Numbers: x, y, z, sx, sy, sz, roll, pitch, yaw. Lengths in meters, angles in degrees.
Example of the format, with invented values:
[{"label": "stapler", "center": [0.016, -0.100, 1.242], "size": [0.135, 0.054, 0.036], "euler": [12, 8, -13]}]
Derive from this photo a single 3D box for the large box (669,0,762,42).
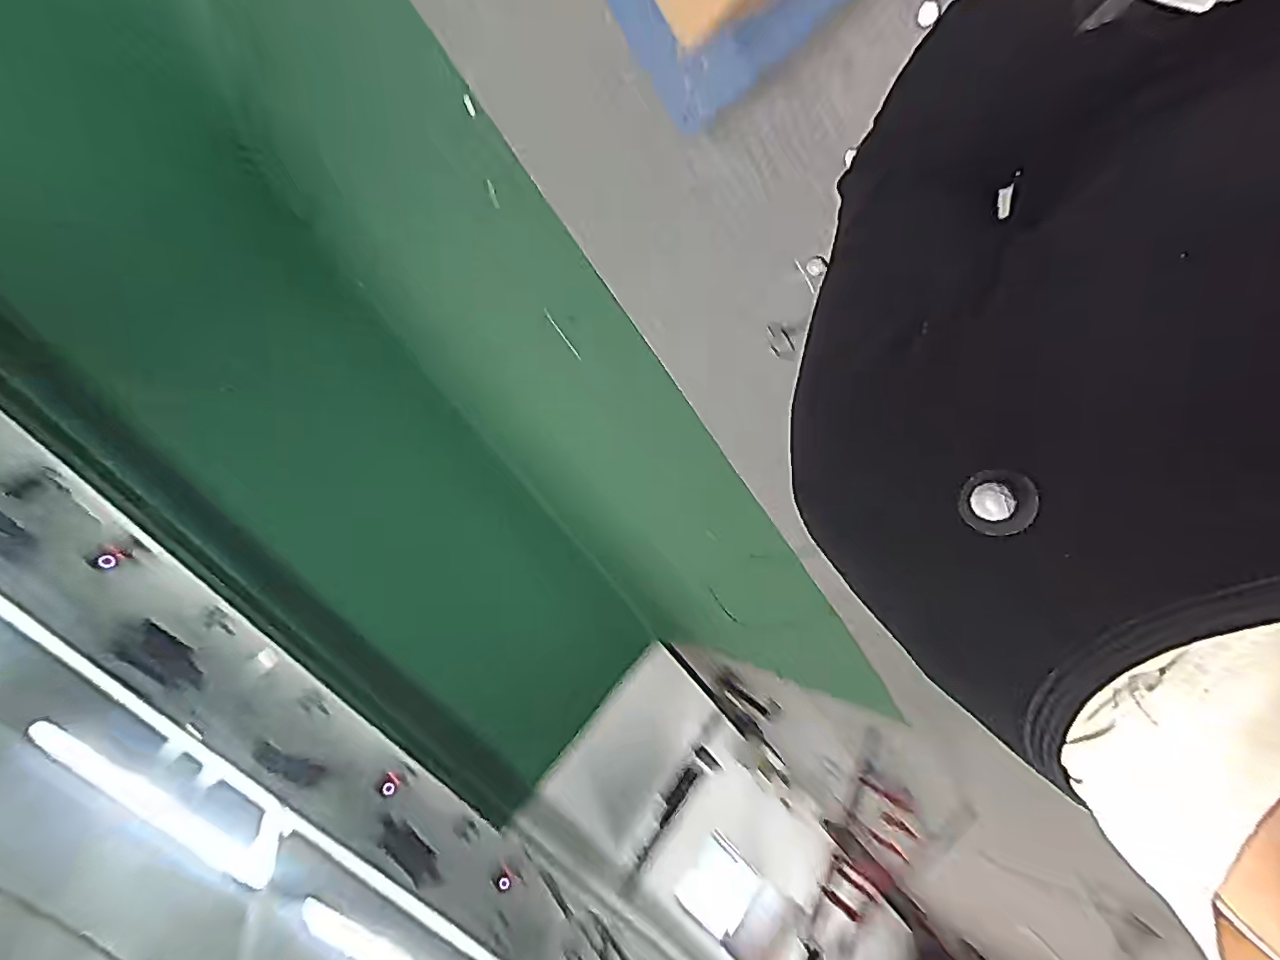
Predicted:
[{"label": "large box", "center": [0.220, -1.117, 0.954], "size": [0.320, 0.320, 0.408], "euler": [54, 154, -20]}]
